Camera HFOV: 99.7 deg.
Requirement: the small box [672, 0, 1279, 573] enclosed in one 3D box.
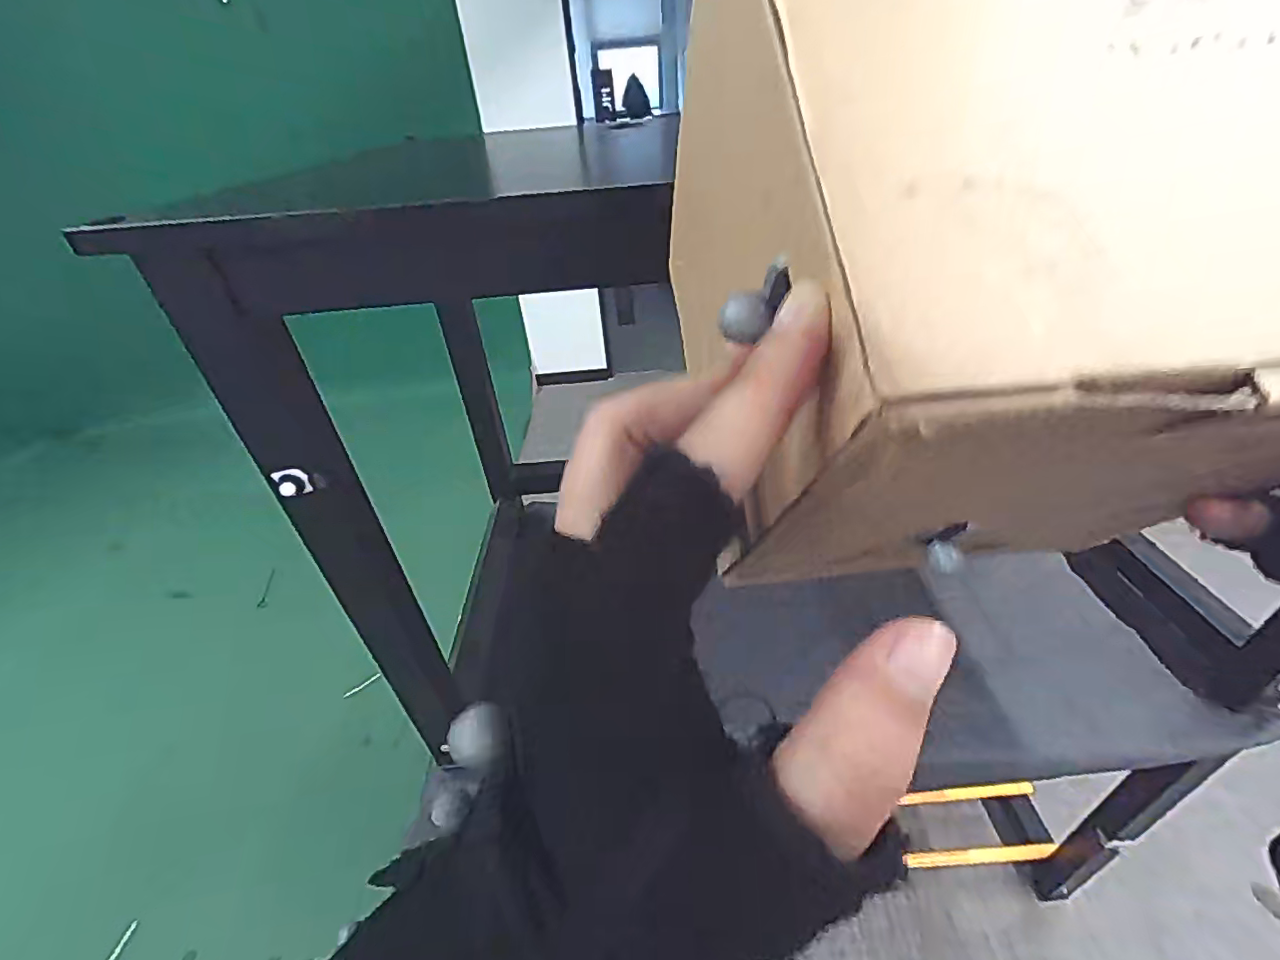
[{"bbox_3d":[0.106,-0.072,0.198,0.168,0.176,0.179,-6,71,-2],"label":"small box"}]
